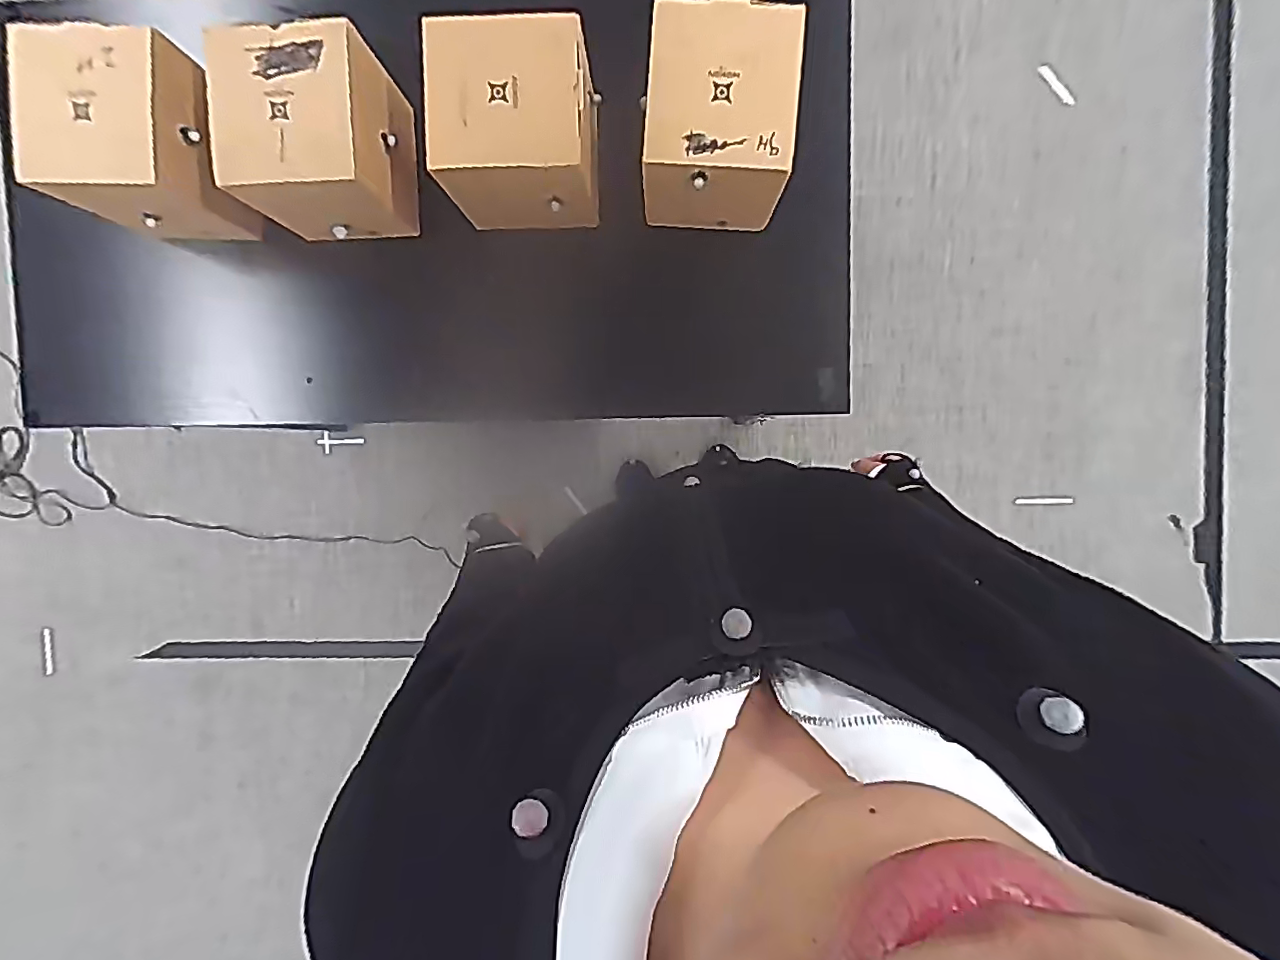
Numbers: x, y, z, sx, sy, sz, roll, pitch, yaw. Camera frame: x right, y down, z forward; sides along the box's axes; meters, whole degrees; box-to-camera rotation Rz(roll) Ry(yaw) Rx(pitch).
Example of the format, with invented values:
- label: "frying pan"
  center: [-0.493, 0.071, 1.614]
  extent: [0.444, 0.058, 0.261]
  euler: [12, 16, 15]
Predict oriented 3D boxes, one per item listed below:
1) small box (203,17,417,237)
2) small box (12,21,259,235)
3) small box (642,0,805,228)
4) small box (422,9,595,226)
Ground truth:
- label: "small box"
  center: [-0.398, -0.427, 0.681]
  extent: [0.168, 0.176, 0.179]
  euler: [-2, 95, 1]
- label: "small box"
  center: [-0.622, -0.430, 0.689]
  extent: [0.168, 0.176, 0.179]
  euler: [2, 93, 1]
- label: "small box"
  center: [0.092, -0.437, 0.664]
  extent: [0.168, 0.176, 0.179]
  euler: [4, 93, 2]
- label: "small box"
  center: [-0.149, -0.434, 0.675]
  extent: [0.179, 0.176, 0.168]
  euler: [-1, 92, 3]
